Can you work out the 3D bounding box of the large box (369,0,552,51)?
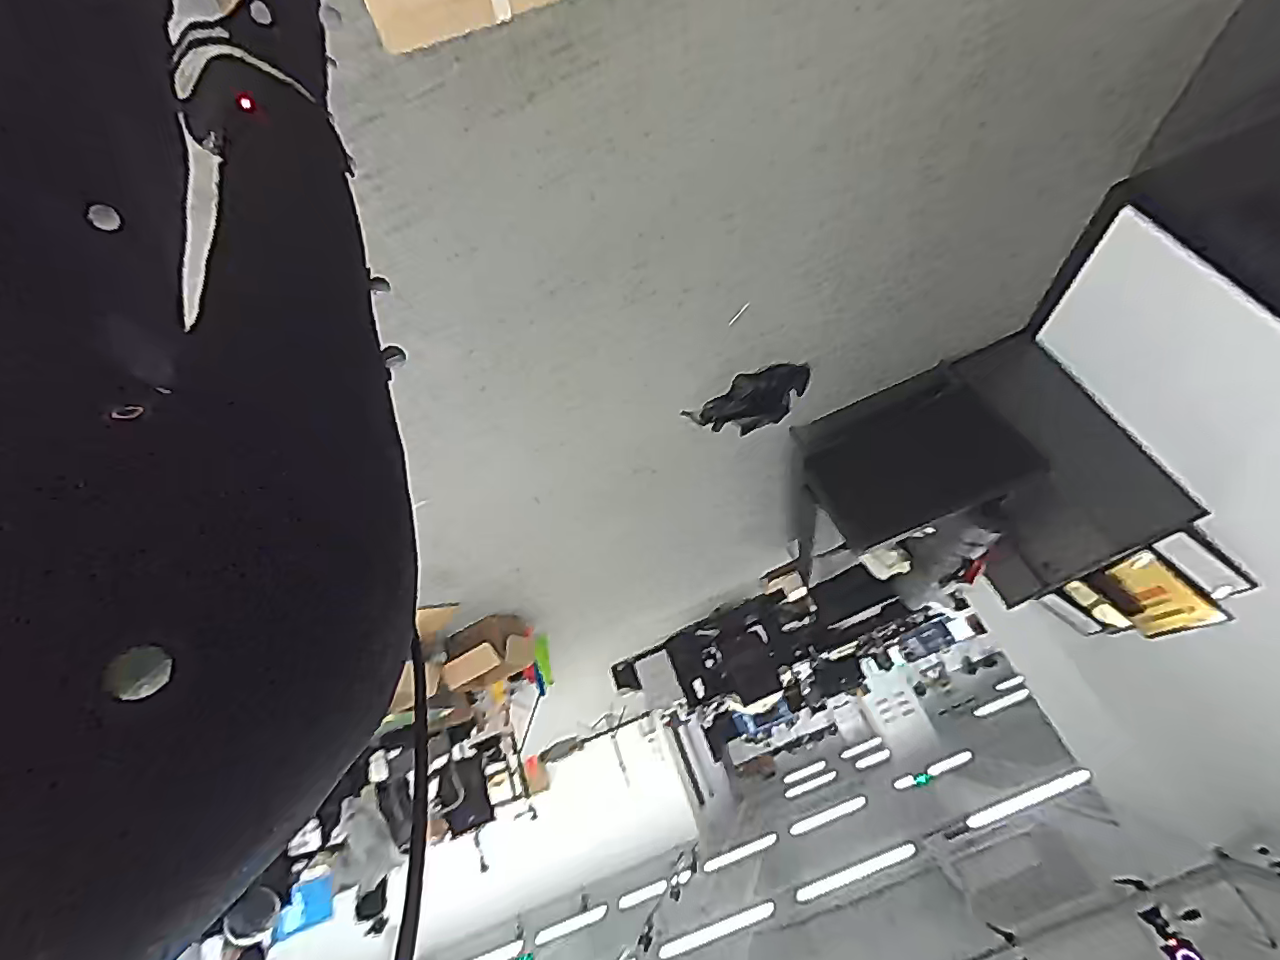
[{"bbox_3d":[-0.251,-0.810,0.586,0.320,0.320,0.408,-21,154,-3],"label":"large box"}]
